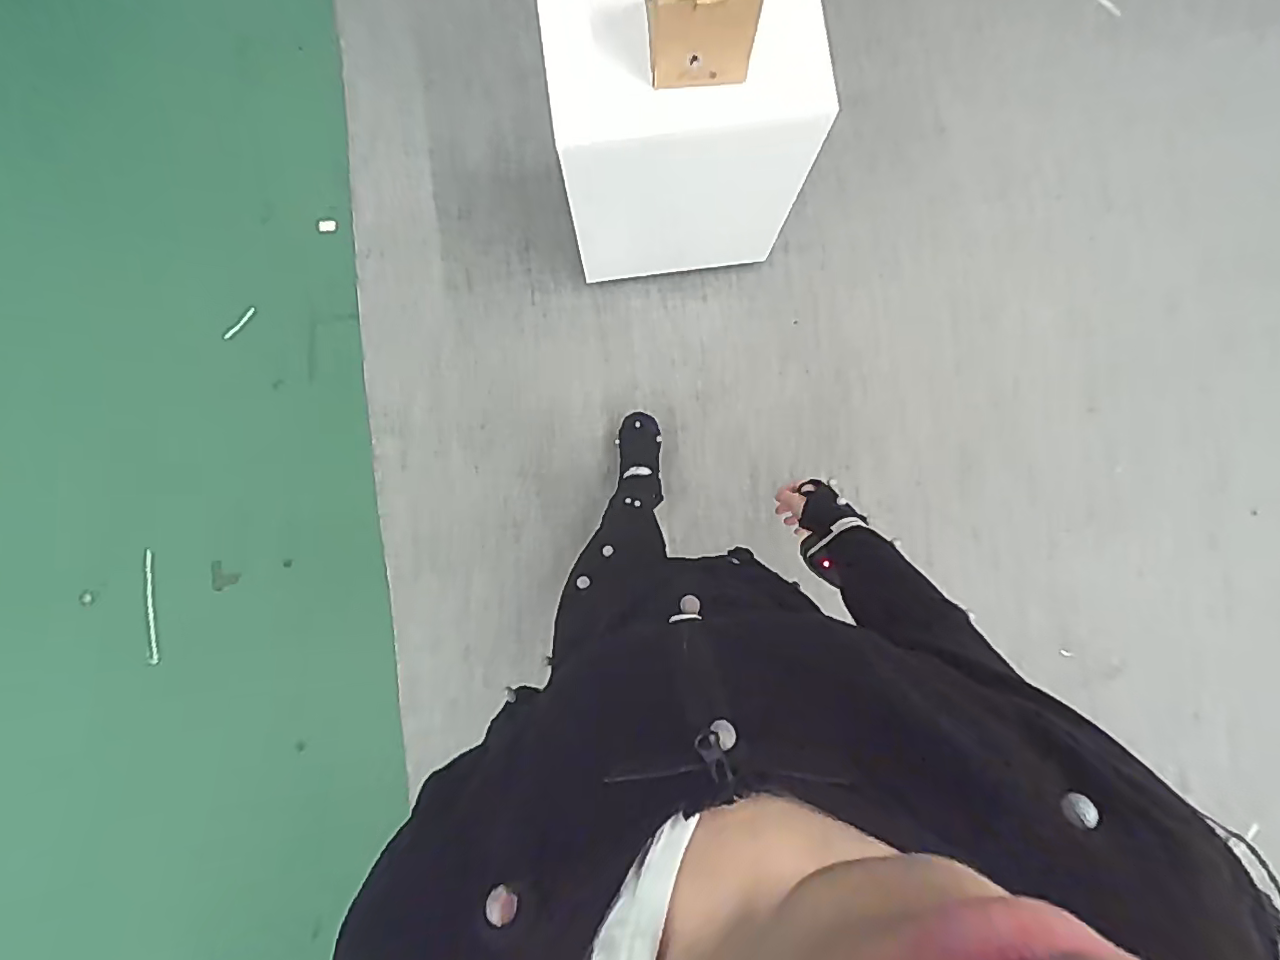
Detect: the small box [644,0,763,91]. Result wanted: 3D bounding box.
[{"bbox_3d":[0.095,-0.781,0.878,0.168,0.176,0.179,-5,85,0],"label":"small box"}]
